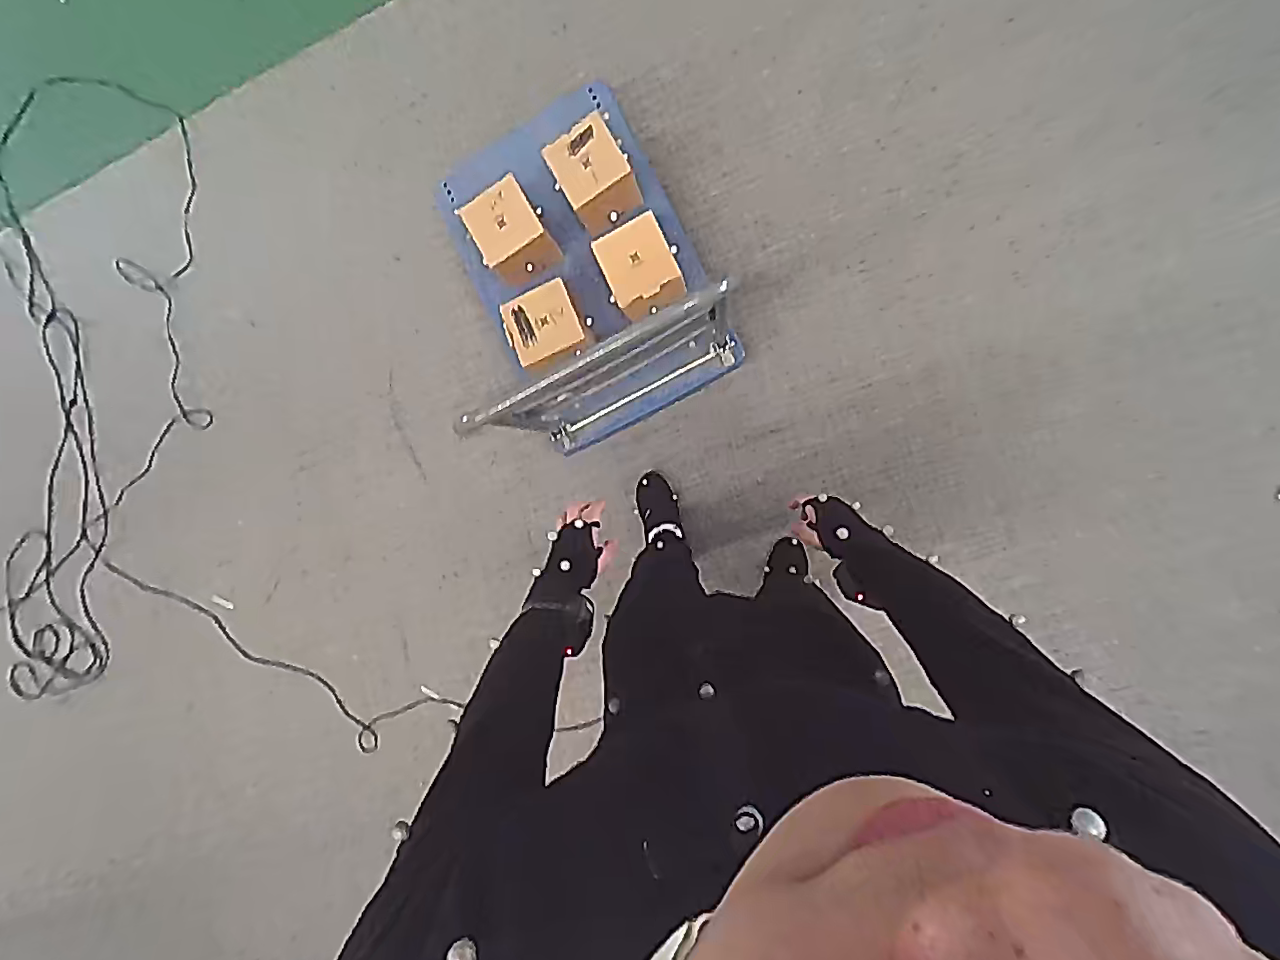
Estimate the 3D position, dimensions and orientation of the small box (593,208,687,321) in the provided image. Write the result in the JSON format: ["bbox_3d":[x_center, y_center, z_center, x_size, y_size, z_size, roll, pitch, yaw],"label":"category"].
[{"bbox_3d":[0.005,-0.527,1.349,0.168,0.176,0.179,-25,87,10],"label":"small box"}]

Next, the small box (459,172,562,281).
[{"bbox_3d":[-0.327,-0.643,1.404,0.168,0.176,0.179,-30,86,9],"label":"small box"}]

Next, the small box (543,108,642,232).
[{"bbox_3d":[-0.113,-0.770,1.362,0.168,0.176,0.179,-30,87,11],"label":"small box"}]
